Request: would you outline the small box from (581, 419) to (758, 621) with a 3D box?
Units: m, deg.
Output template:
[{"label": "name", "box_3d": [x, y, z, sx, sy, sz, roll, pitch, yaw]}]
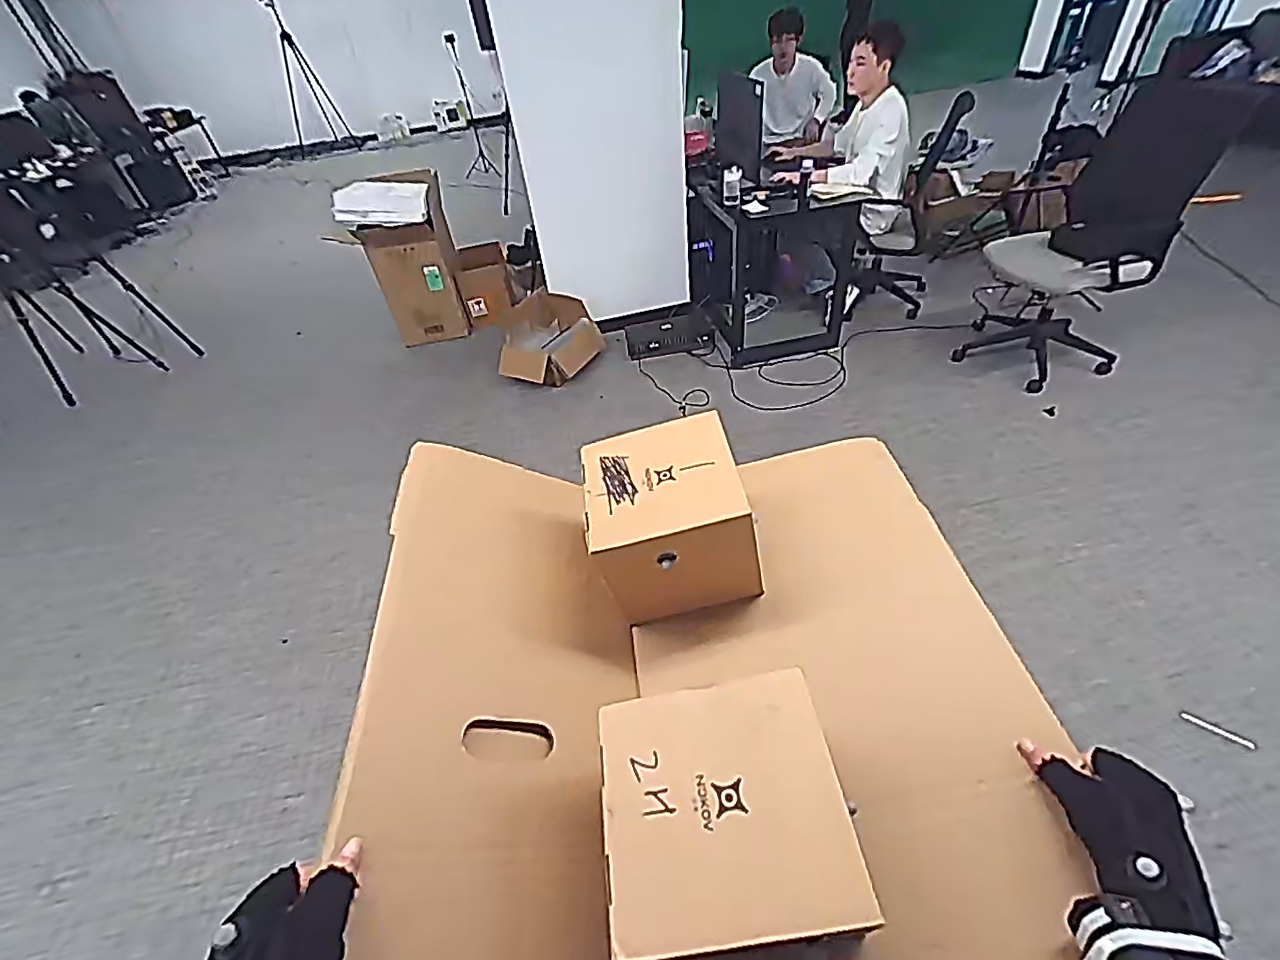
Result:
[{"label": "small box", "box_3d": [0.037, 0.056, 0.677, 0.179, 0.176, 0.168, -15, 47, 5]}]
